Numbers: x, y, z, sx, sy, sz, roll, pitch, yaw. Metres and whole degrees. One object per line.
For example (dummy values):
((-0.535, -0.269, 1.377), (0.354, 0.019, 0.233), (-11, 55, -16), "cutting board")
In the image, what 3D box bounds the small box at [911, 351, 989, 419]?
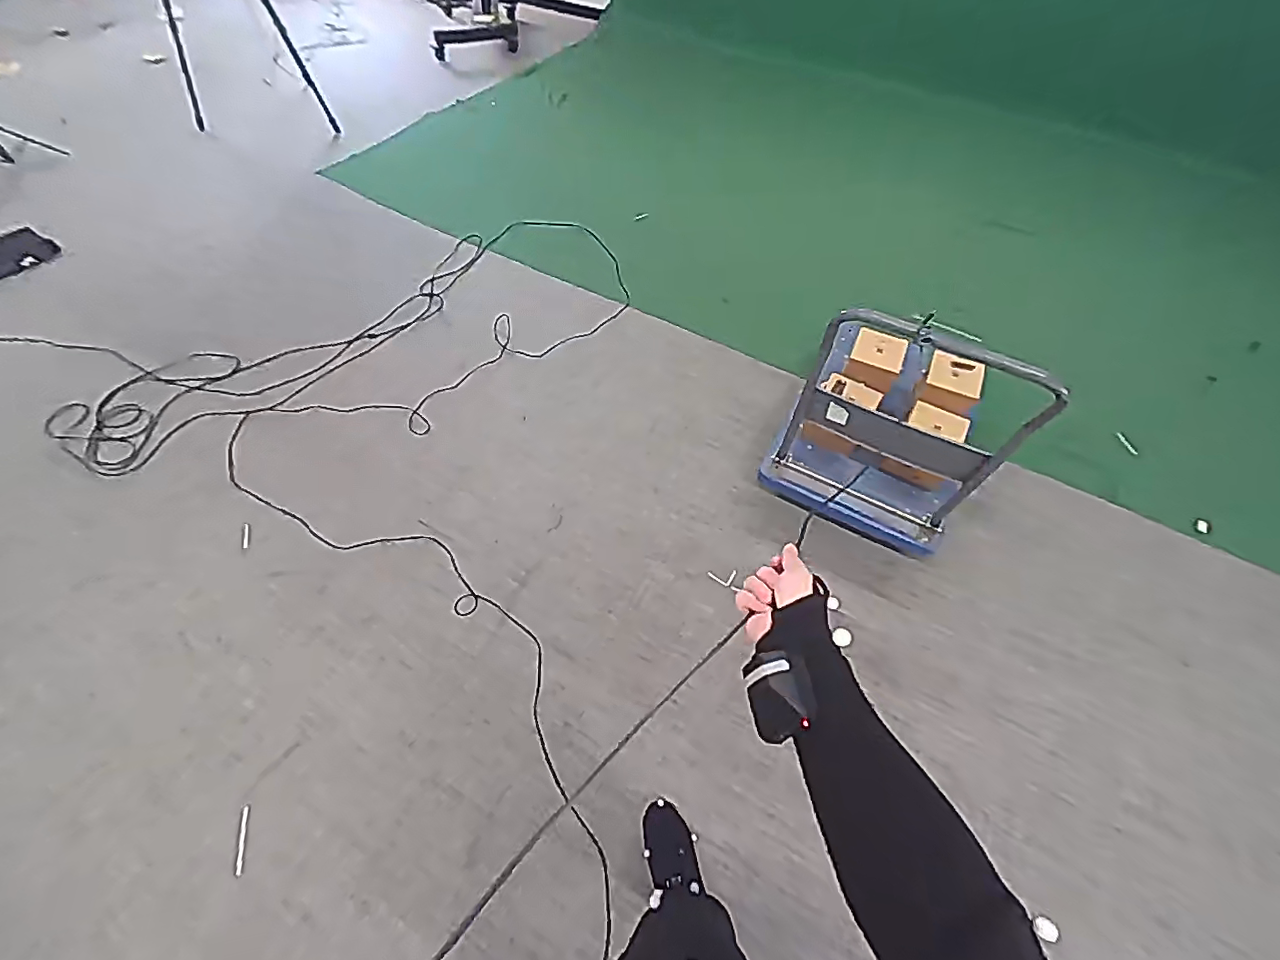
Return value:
((1.045, -0.299, 1.833), (0.168, 0.176, 0.179), (22, 59, 15), "small box")

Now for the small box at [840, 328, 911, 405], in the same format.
((0.819, -0.392, 1.893), (0.168, 0.176, 0.179), (23, 58, 13), "small box")

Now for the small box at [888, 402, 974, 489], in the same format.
((0.909, -0.107, 1.700), (0.168, 0.176, 0.179), (27, 60, 16), "small box")
